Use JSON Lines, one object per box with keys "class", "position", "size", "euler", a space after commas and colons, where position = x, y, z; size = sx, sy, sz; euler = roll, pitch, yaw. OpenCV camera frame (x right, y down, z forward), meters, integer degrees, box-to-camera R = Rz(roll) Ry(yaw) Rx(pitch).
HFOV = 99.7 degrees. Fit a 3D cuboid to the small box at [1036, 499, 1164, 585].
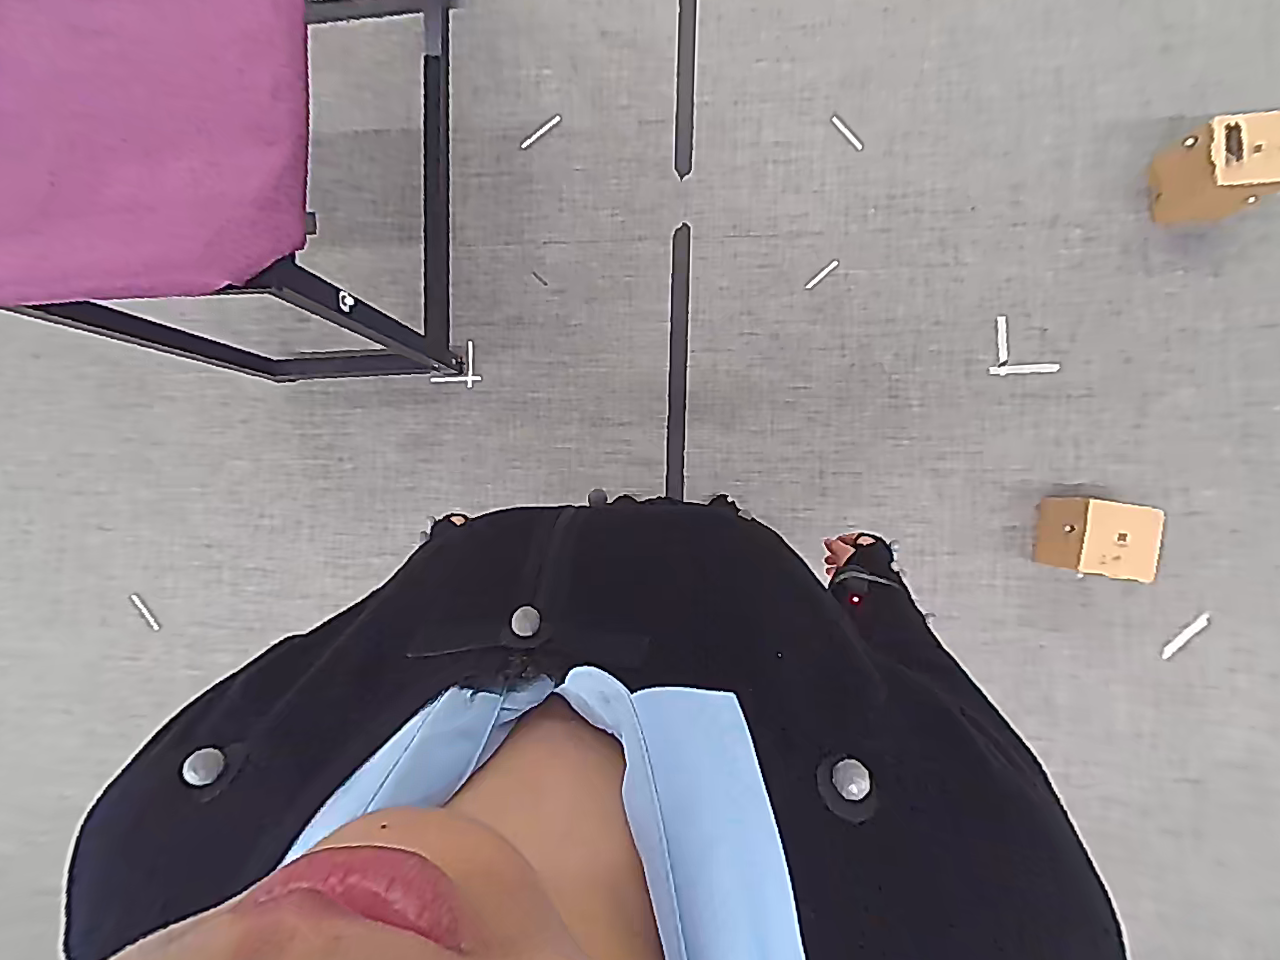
{"class": "small box", "position": [1.118, 0.145, 1.329], "size": [0.168, 0.176, 0.179], "euler": [10, 90, 6]}
